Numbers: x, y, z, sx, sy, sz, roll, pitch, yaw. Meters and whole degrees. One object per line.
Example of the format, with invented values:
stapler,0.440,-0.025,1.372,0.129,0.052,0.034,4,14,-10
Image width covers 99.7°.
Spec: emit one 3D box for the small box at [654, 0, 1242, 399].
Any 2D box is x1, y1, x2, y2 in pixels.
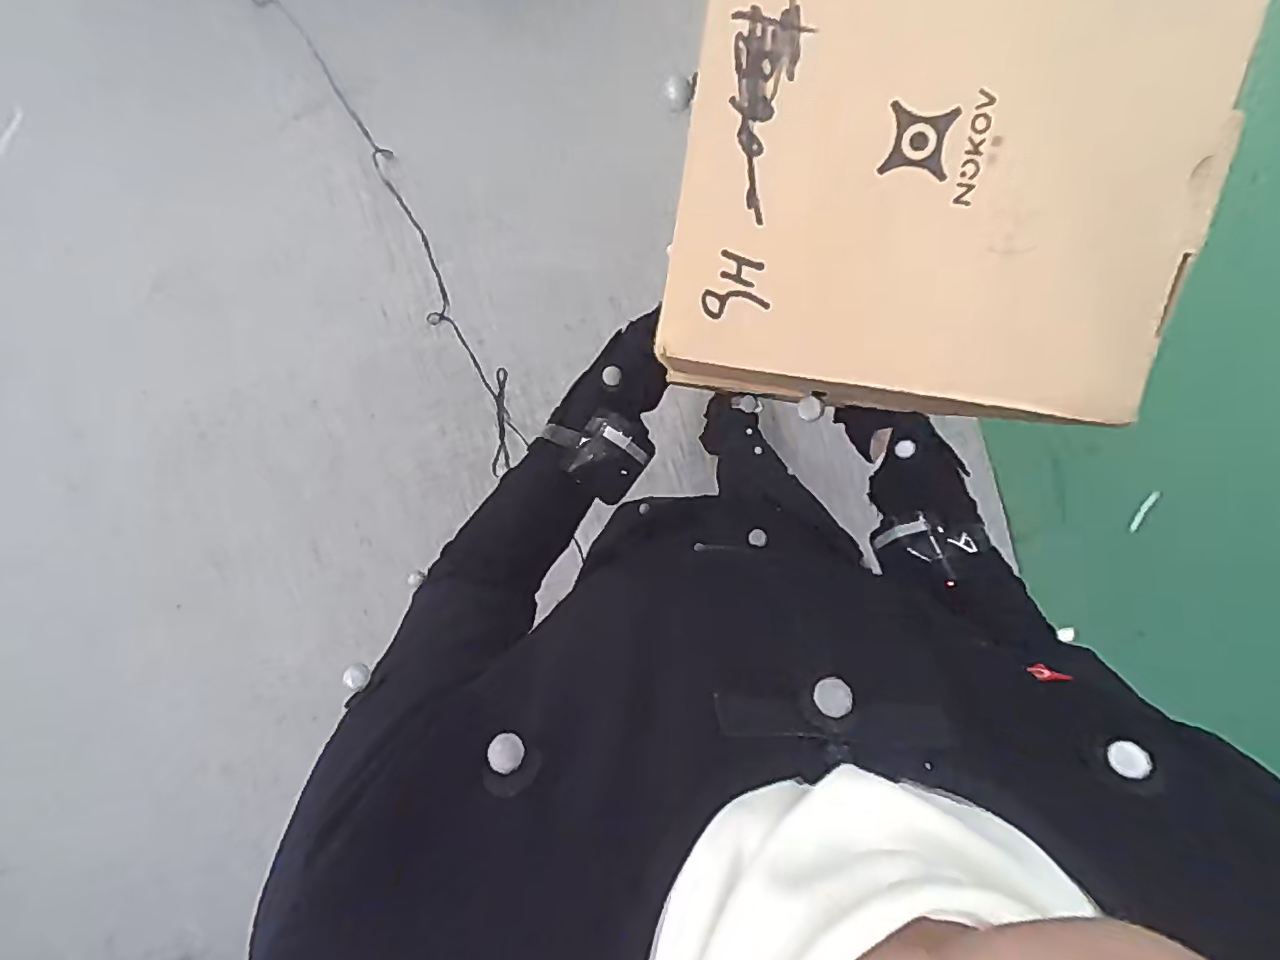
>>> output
small box,0.108,-0.136,0.266,0.179,0.176,0.168,9,99,3
